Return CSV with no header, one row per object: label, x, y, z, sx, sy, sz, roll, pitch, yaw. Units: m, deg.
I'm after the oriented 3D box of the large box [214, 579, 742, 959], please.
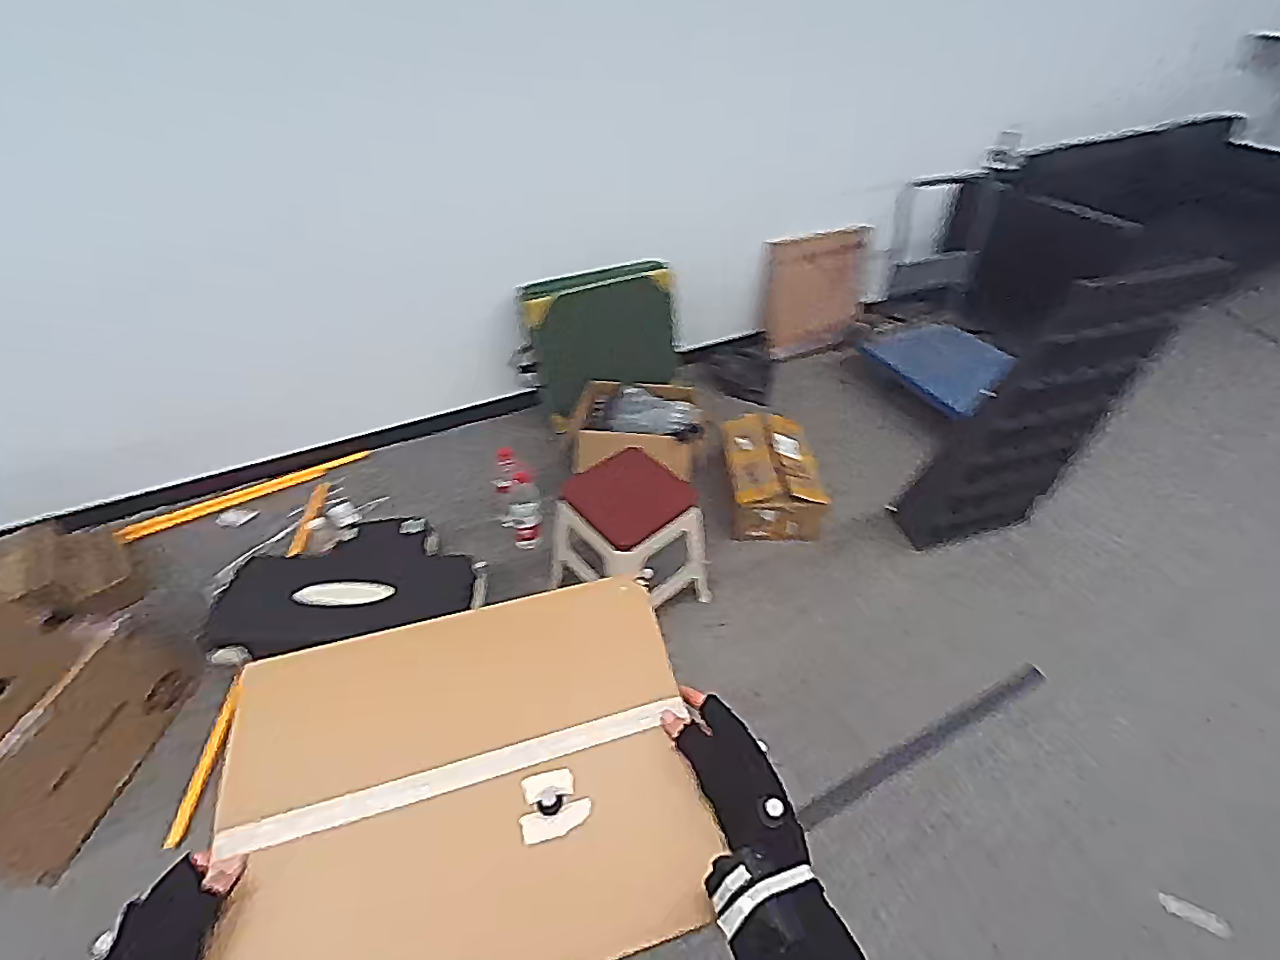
large box,-0.151,0.359,0.599,0.408,0.320,0.320,-11,52,-11
